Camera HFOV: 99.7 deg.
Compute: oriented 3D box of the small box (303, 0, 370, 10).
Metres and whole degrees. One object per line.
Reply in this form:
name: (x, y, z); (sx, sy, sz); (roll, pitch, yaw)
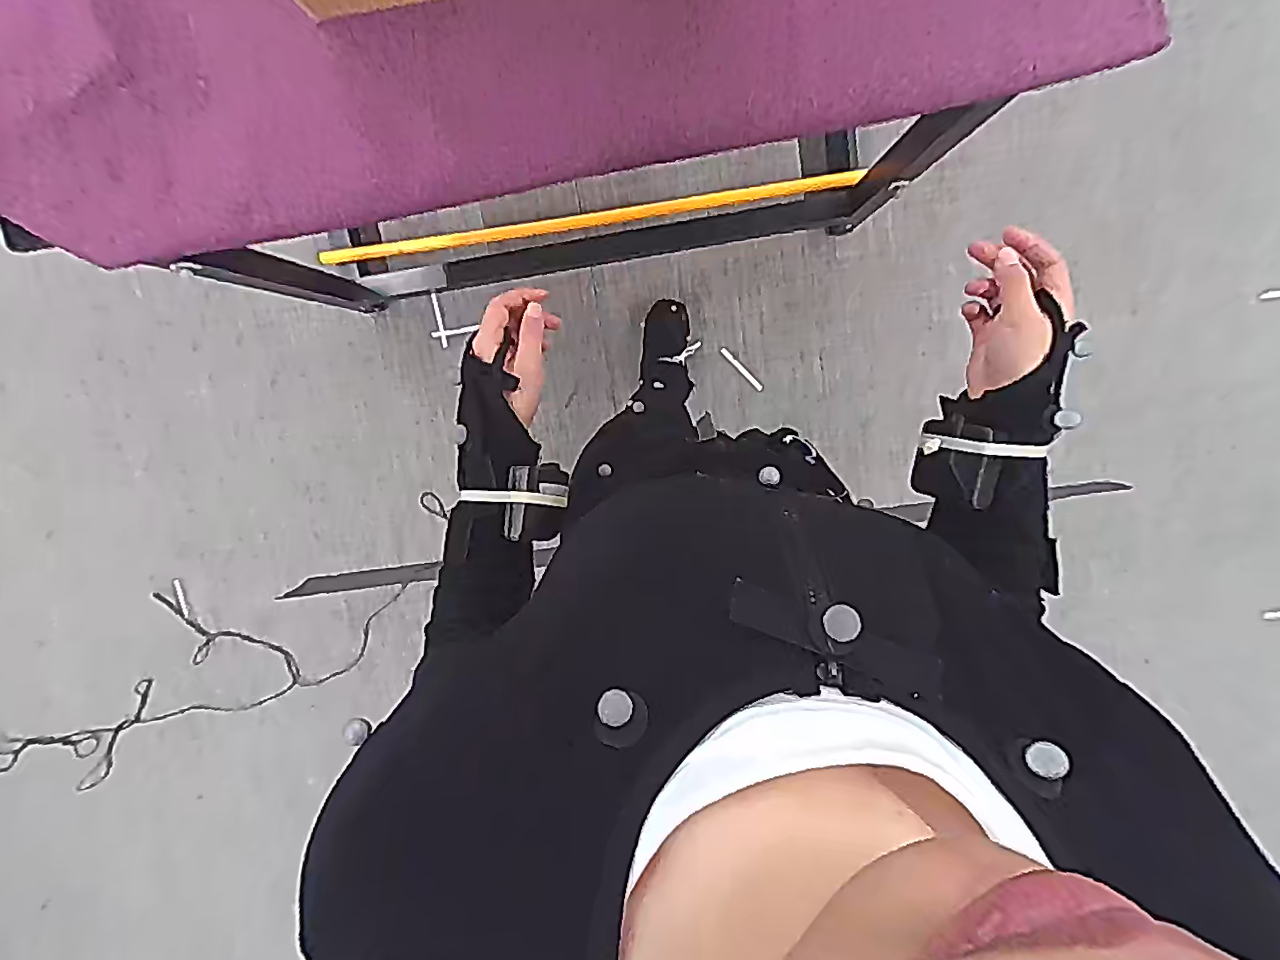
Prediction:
small box: (-0.270, -0.555, 0.464); (0.179, 0.176, 0.168); (-8, 100, 3)
